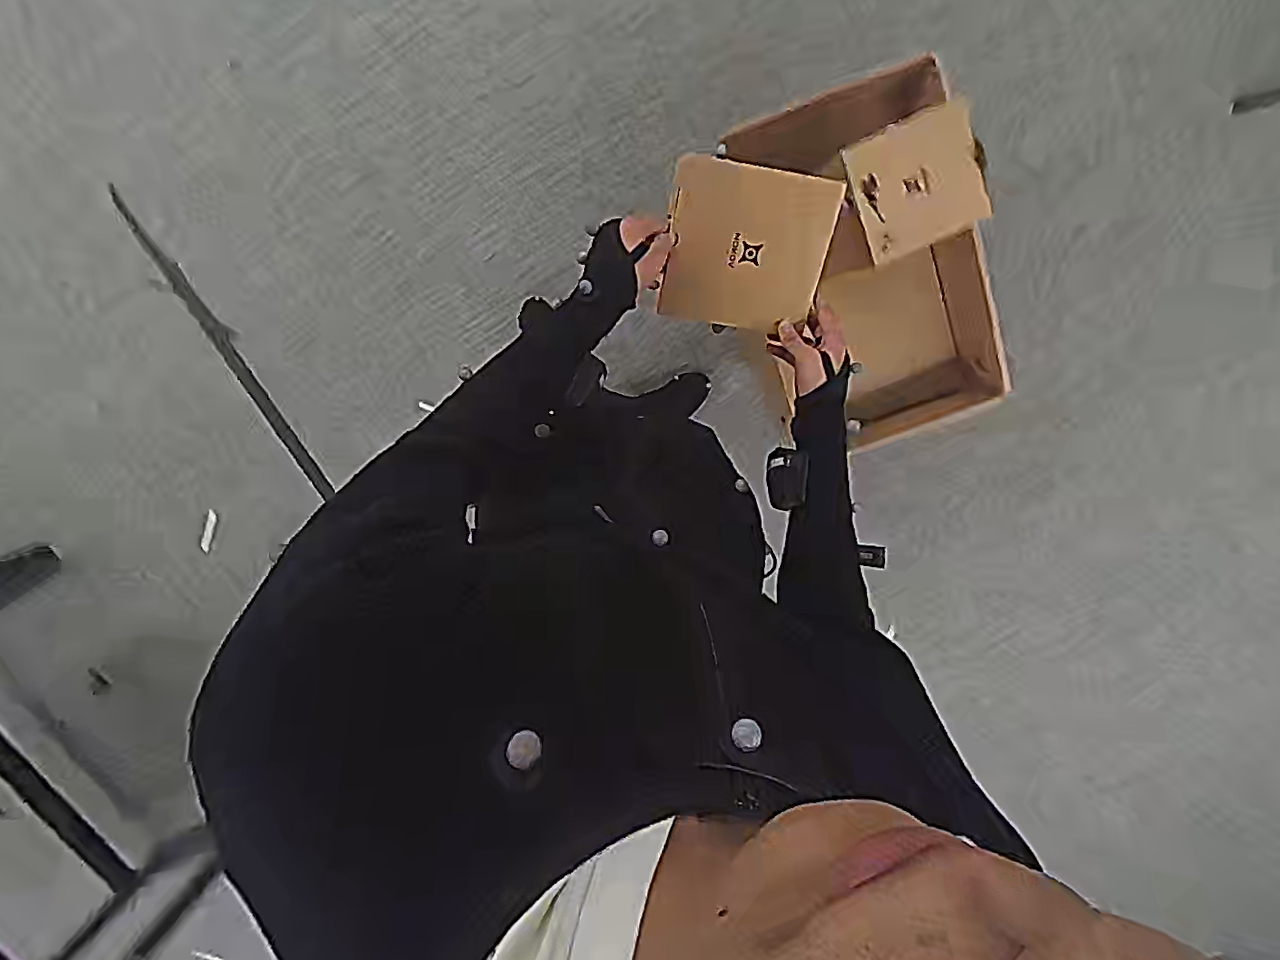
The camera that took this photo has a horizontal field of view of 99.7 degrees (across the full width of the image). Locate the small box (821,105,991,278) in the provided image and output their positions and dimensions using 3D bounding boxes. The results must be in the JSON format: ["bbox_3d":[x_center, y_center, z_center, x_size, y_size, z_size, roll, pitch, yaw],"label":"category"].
[{"bbox_3d":[0.390,-0.427,0.833,0.179,0.176,0.168,-22,104,6],"label":"small box"}]

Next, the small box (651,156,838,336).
[{"bbox_3d":[0.112,-0.289,0.662,0.179,0.176,0.168,8,118,-1],"label":"small box"}]
